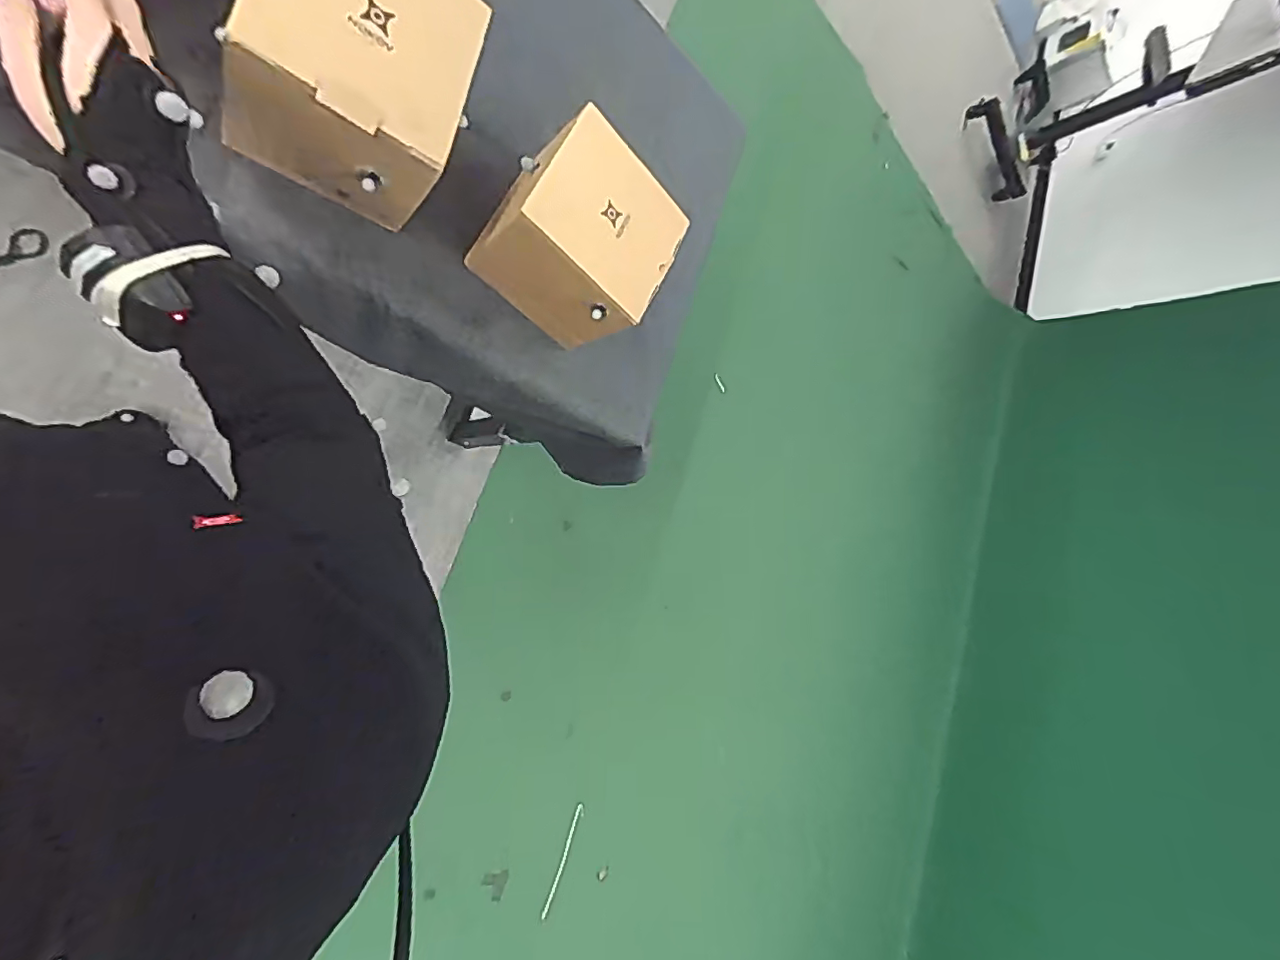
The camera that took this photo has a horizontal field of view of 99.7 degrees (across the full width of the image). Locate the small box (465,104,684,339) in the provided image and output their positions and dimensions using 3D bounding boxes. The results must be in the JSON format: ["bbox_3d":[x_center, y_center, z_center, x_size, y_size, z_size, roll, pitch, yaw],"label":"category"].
[{"bbox_3d":[-0.084,-0.296,0.666,0.179,0.176,0.168,37,69,-34],"label":"small box"}]

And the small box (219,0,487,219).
[{"bbox_3d":[-0.273,-0.386,0.511,0.168,0.176,0.179,19,79,-39],"label":"small box"}]
